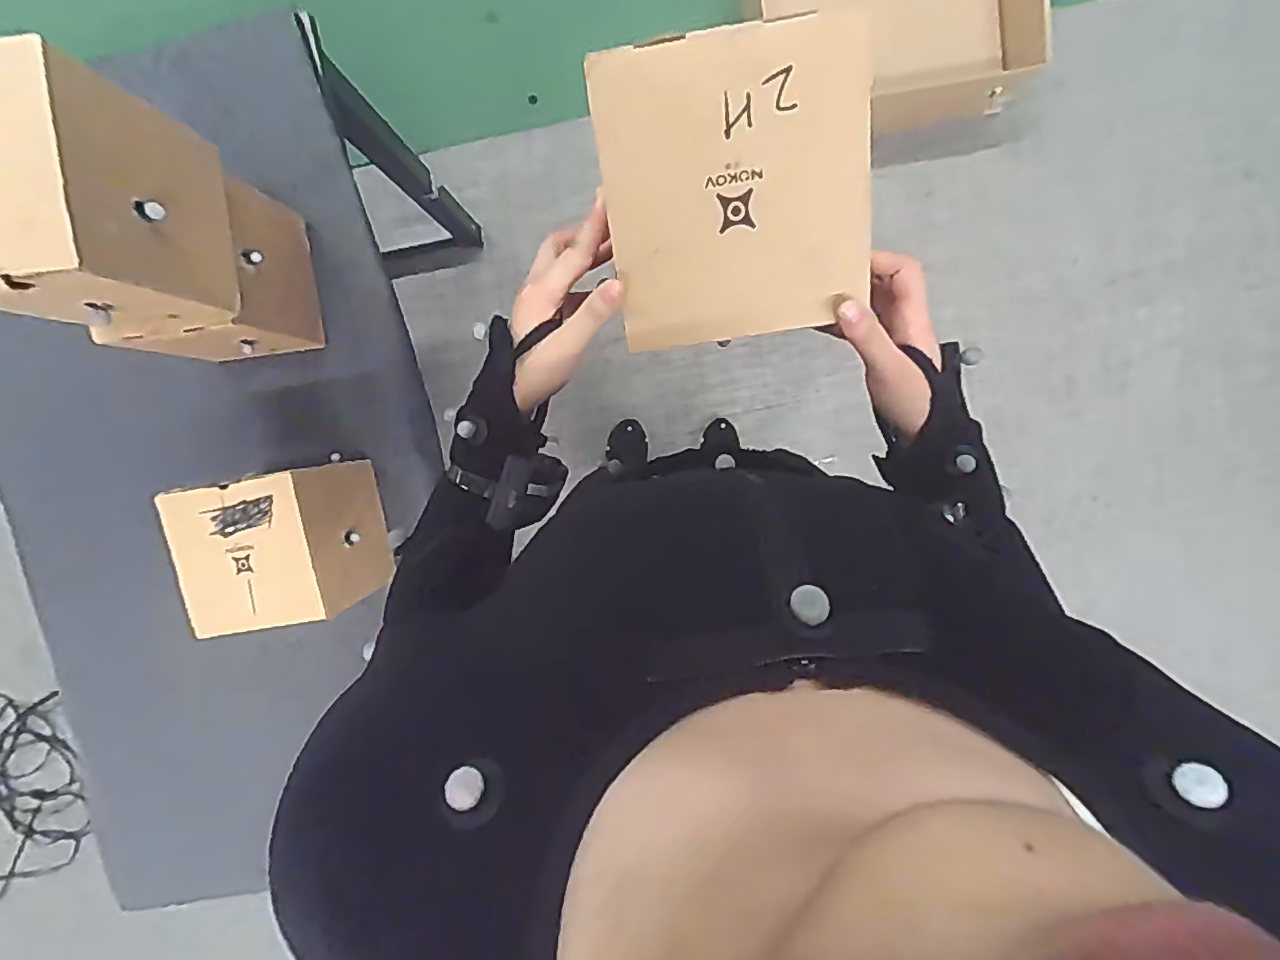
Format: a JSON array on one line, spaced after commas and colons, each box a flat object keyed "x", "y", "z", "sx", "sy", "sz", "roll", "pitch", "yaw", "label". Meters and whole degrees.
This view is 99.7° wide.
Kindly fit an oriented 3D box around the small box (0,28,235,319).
[{"x": -0.507, "y": -0.246, "z": 0.483, "sx": 0.168, "sy": 0.176, "sz": 0.179, "roll": -4, "pitch": 96, "yaw": 2, "label": "small box"}]

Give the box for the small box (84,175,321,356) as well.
[{"x": -0.516, "y": -0.249, "z": 0.648, "sx": 0.168, "sy": 0.176, "sz": 0.179, "roll": -7, "pitch": 95, "yaw": 2, "label": "small box"}]

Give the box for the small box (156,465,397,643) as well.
[{"x": -0.436, "y": 0.079, "z": 0.679, "sx": 0.168, "sy": 0.176, "sz": 0.179, "roll": -10, "pitch": 97, "yaw": 4, "label": "small box"}]
